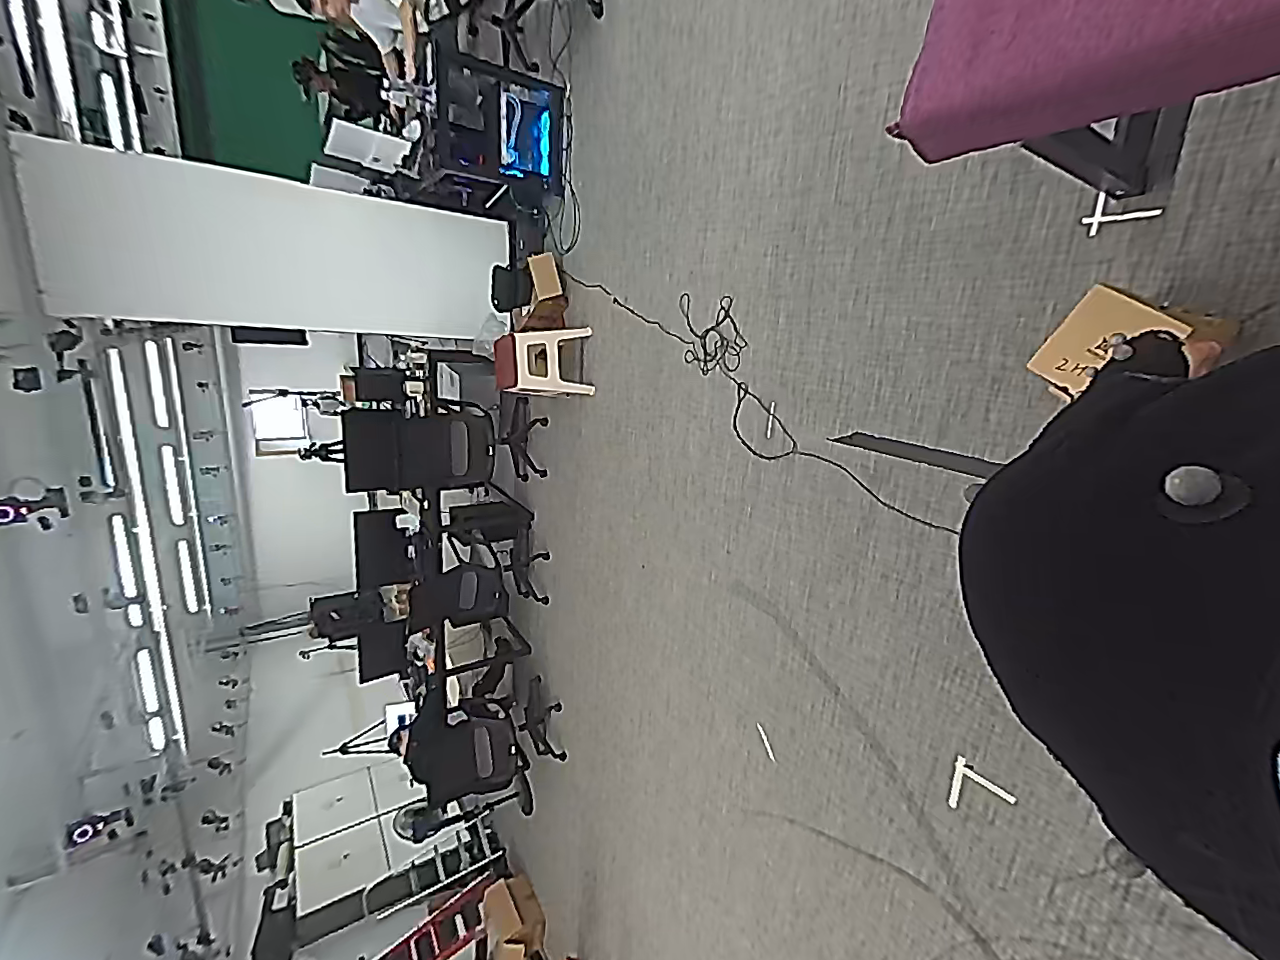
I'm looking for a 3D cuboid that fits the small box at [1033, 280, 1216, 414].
[{"bbox_3d":[0.886,-0.242,0.989,0.168,0.176,0.179,56,139,36],"label":"small box"}]
